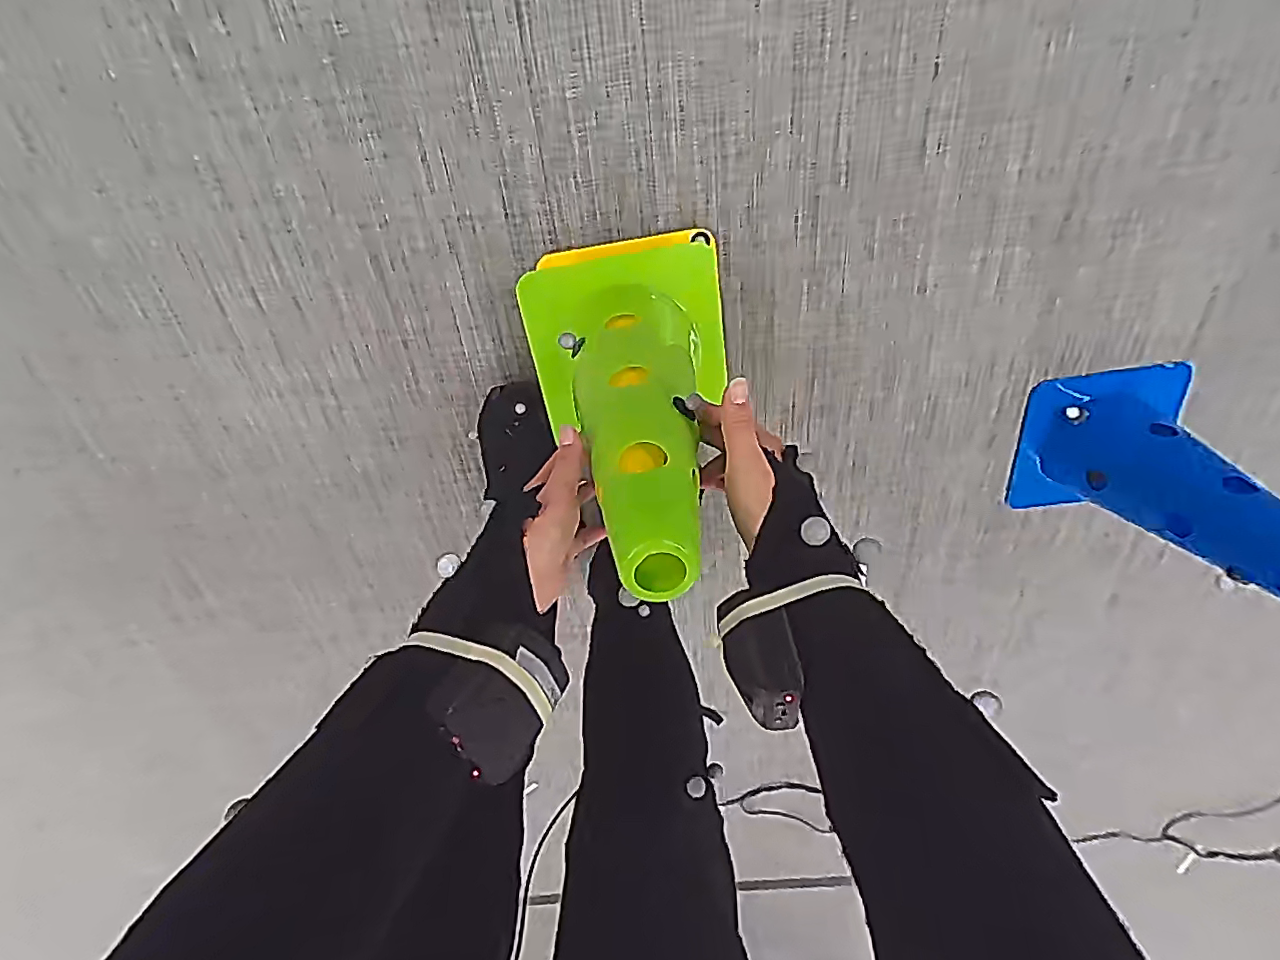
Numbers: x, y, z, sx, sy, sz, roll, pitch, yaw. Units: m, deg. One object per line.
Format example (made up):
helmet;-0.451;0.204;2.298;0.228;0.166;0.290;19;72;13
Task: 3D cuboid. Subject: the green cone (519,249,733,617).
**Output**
green cone;0.001;-0.040;0.411;0.202;0.368;0.200;-9;119;2
